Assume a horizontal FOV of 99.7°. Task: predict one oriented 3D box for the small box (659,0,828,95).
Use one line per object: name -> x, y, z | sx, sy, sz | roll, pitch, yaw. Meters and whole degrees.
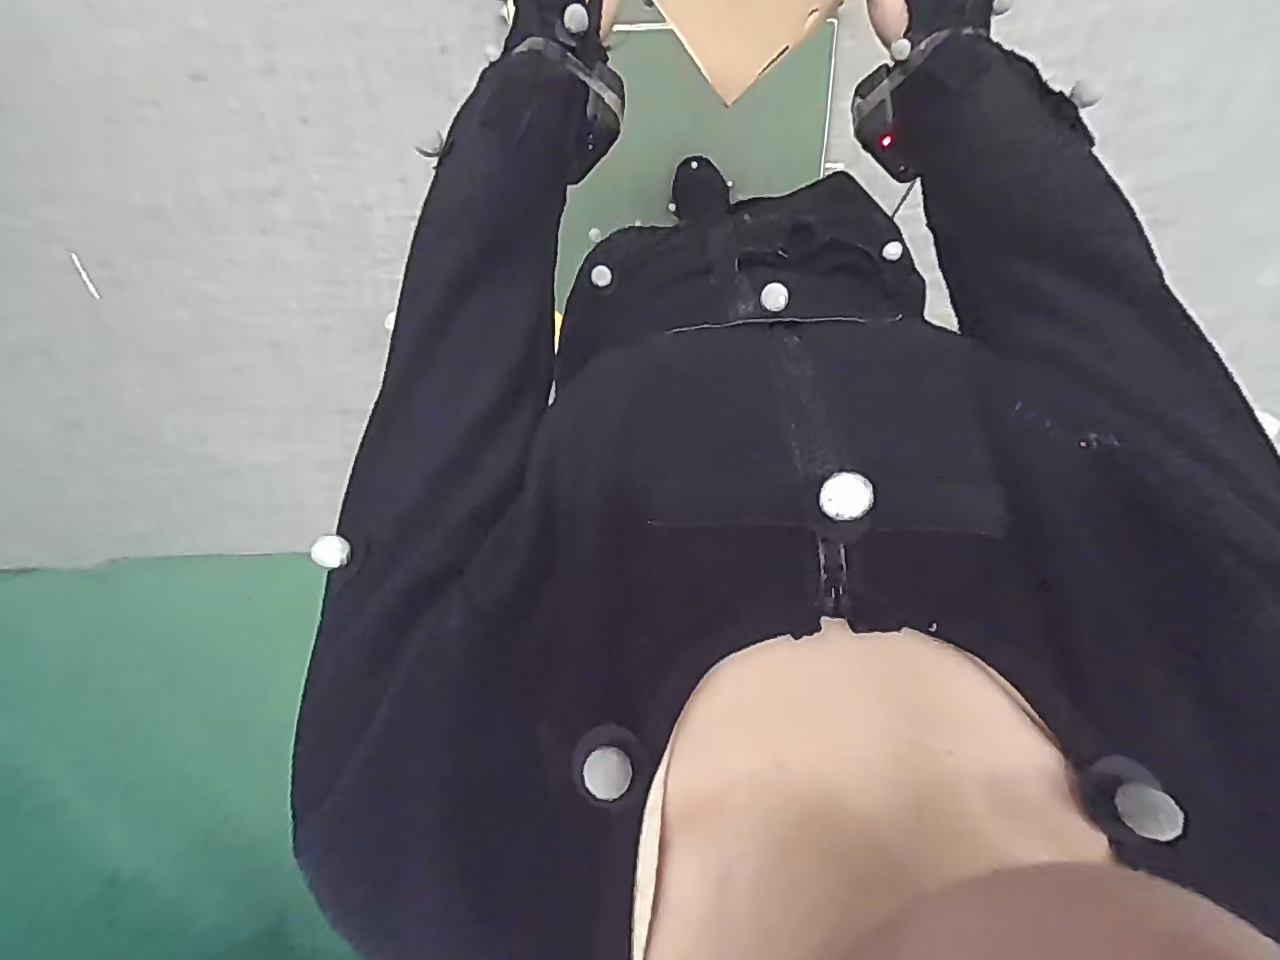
small box -> 0.075, -0.457, 0.416 | 0.168, 0.176, 0.179 | -32, 129, 31
